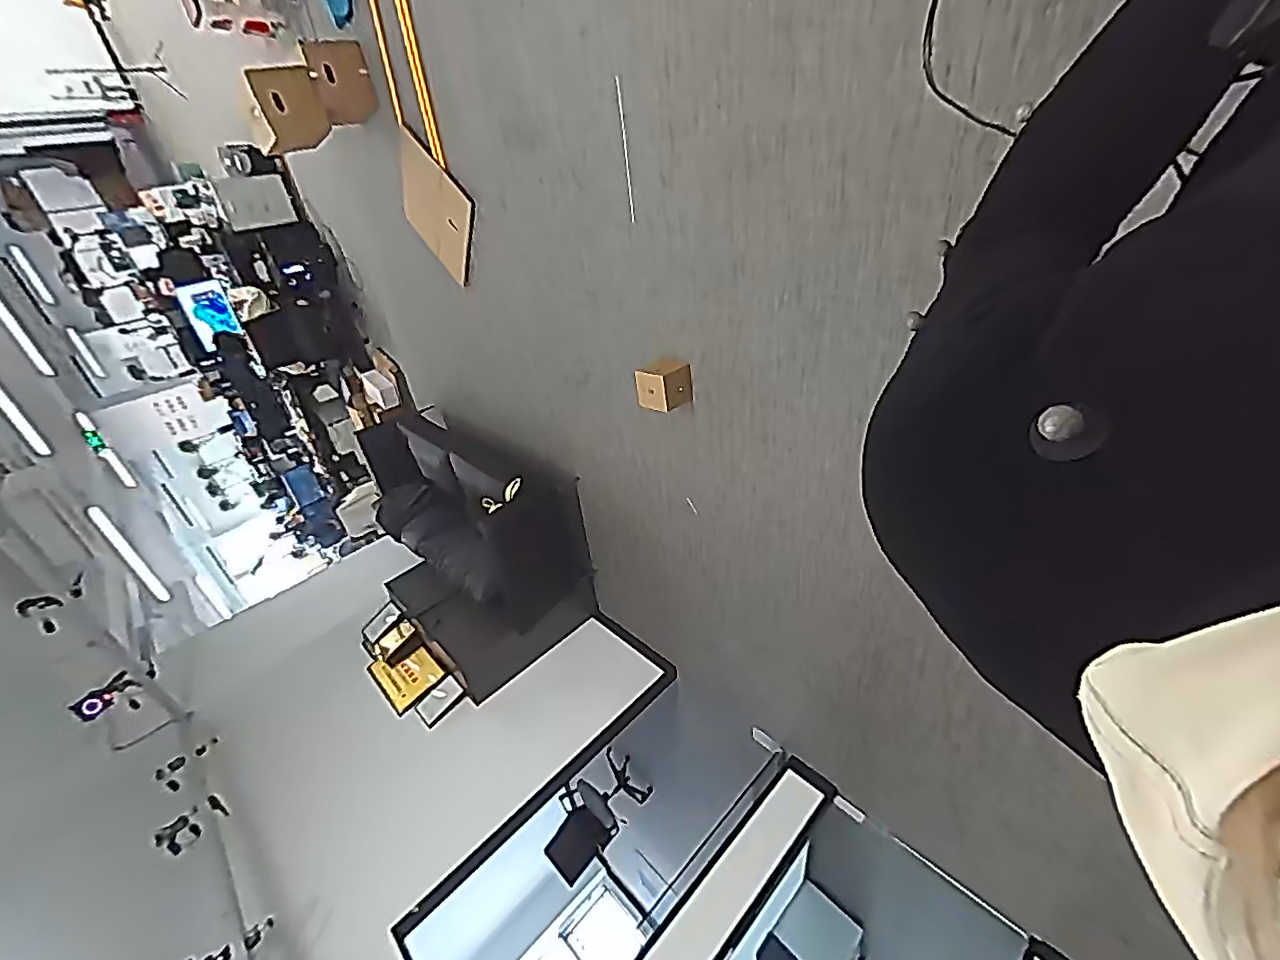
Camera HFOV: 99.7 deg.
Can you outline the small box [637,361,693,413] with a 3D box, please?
[{"bbox_3d":[0.117,-0.411,2.352,0.179,0.176,0.168,22,132,43],"label":"small box"}]
